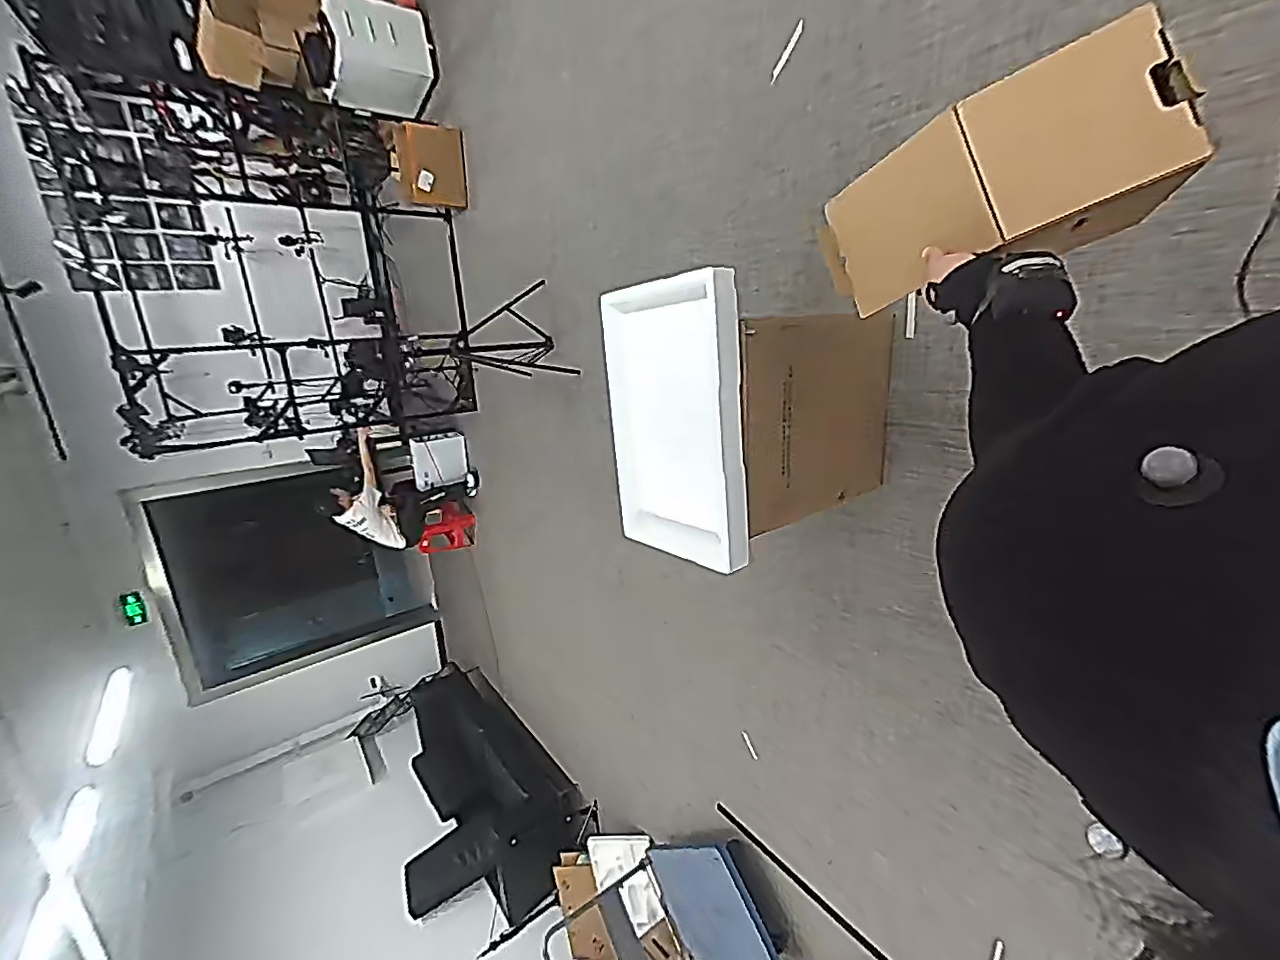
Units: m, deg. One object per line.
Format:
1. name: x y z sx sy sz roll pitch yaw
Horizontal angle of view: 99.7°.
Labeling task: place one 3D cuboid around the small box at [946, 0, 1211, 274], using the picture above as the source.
1. small box: 0.461 -0.359 0.608 0.179 0.176 0.168 -19 86 25
